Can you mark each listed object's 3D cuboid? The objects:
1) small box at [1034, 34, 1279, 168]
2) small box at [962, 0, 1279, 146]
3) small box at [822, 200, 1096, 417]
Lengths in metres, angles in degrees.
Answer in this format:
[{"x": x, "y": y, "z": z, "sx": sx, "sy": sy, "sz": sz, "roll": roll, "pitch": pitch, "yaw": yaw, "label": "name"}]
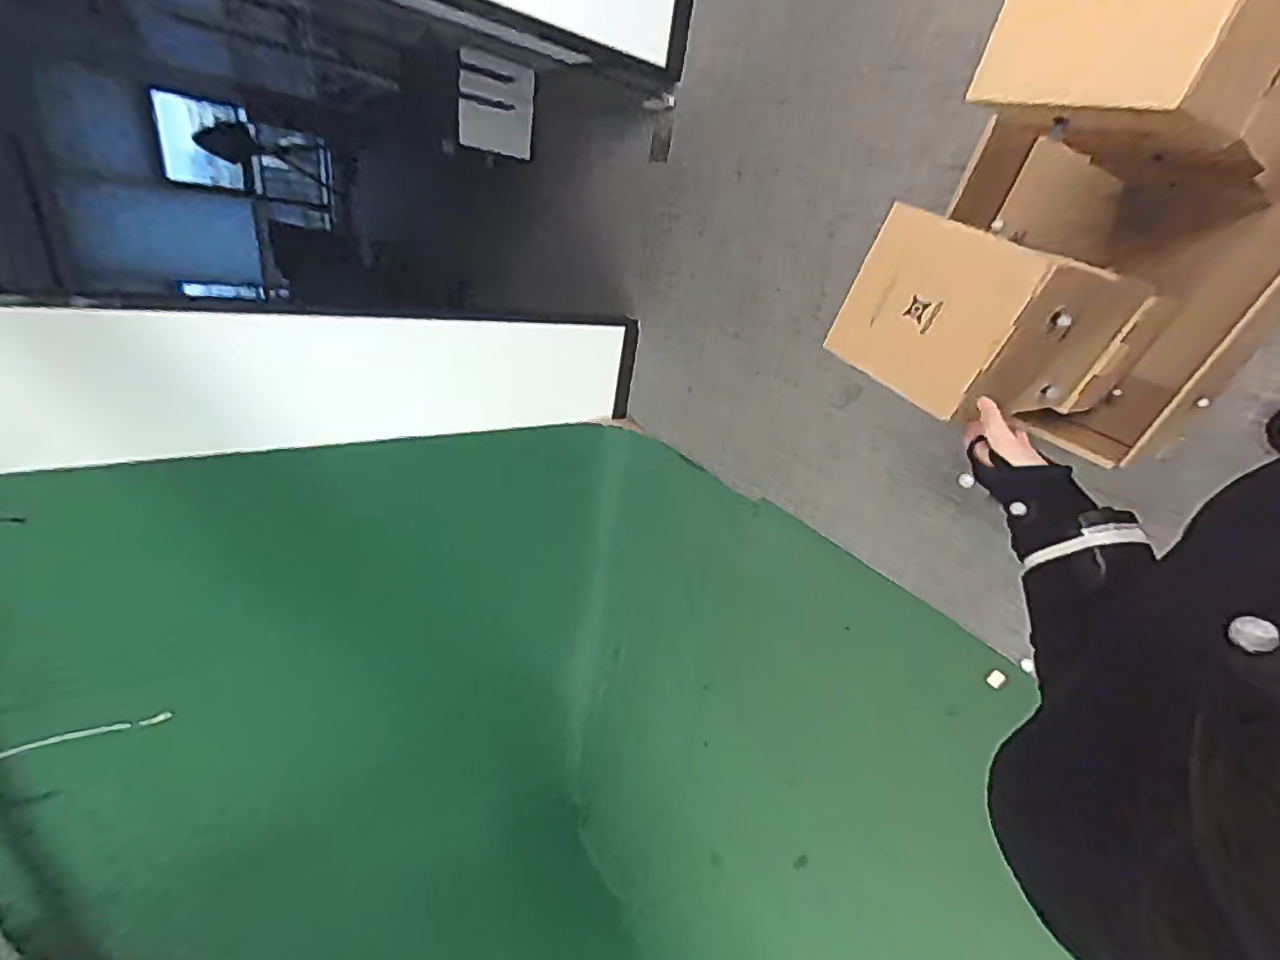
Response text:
[{"x": 0.556, "y": -0.431, "z": 0.552, "sx": 0.179, "sy": 0.176, "sz": 0.168, "roll": 40, "pitch": 129, "yaw": 40, "label": "small box"}, {"x": 0.426, "y": -0.401, "z": 0.458, "sx": 0.168, "sy": 0.176, "sz": 0.179, "roll": 42, "pitch": 130, "yaw": 41, "label": "small box"}, {"x": 0.353, "y": -0.190, "z": 0.608, "sx": 0.179, "sy": 0.176, "sz": 0.168, "roll": 49, "pitch": 133, "yaw": 36, "label": "small box"}]
